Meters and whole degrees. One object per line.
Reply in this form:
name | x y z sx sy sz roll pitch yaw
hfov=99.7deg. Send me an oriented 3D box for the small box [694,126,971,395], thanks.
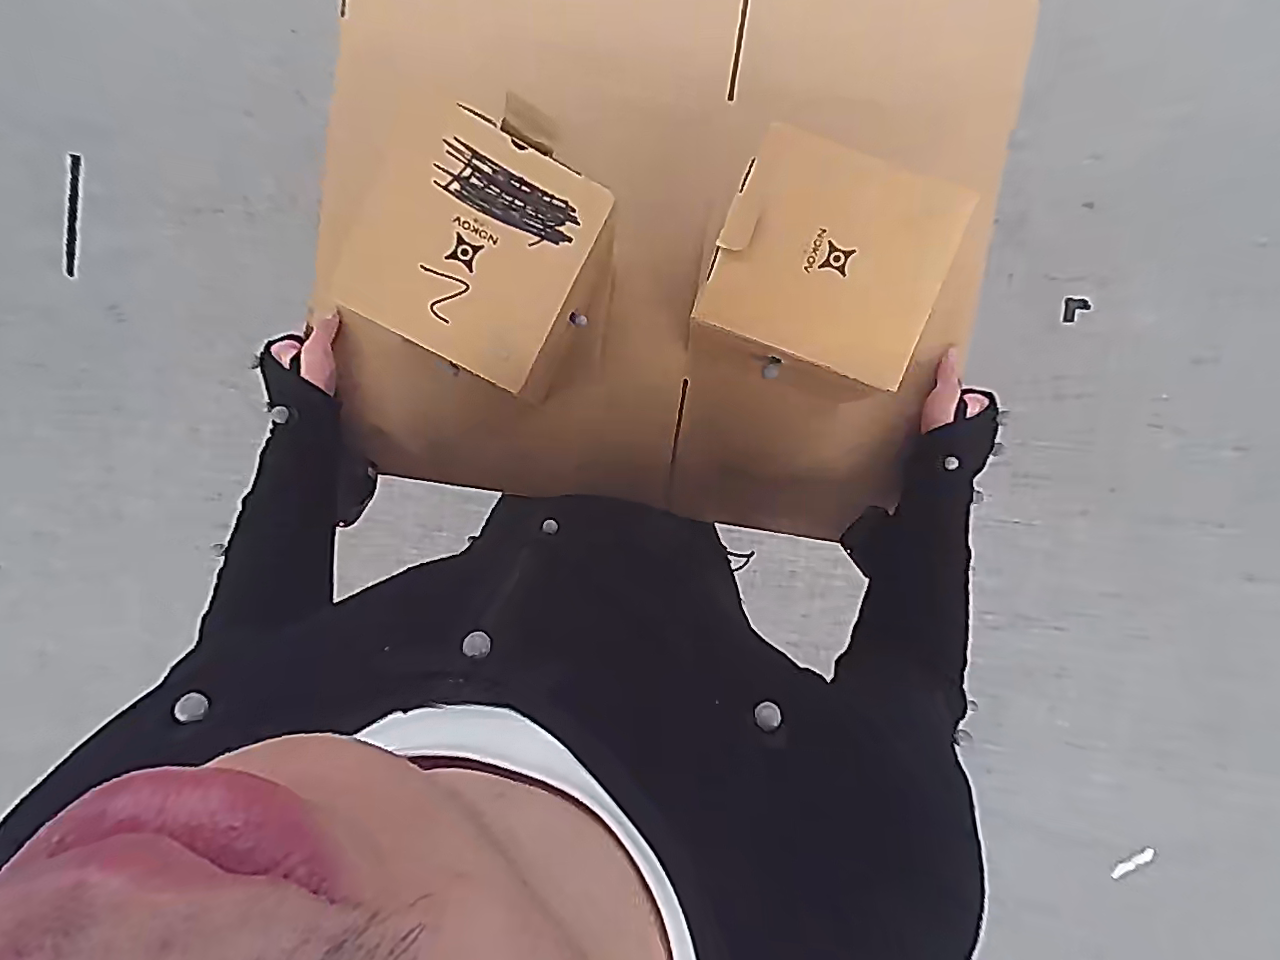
small box | 0.162 -0.187 0.519 0.179 0.176 0.168 21 95 4
